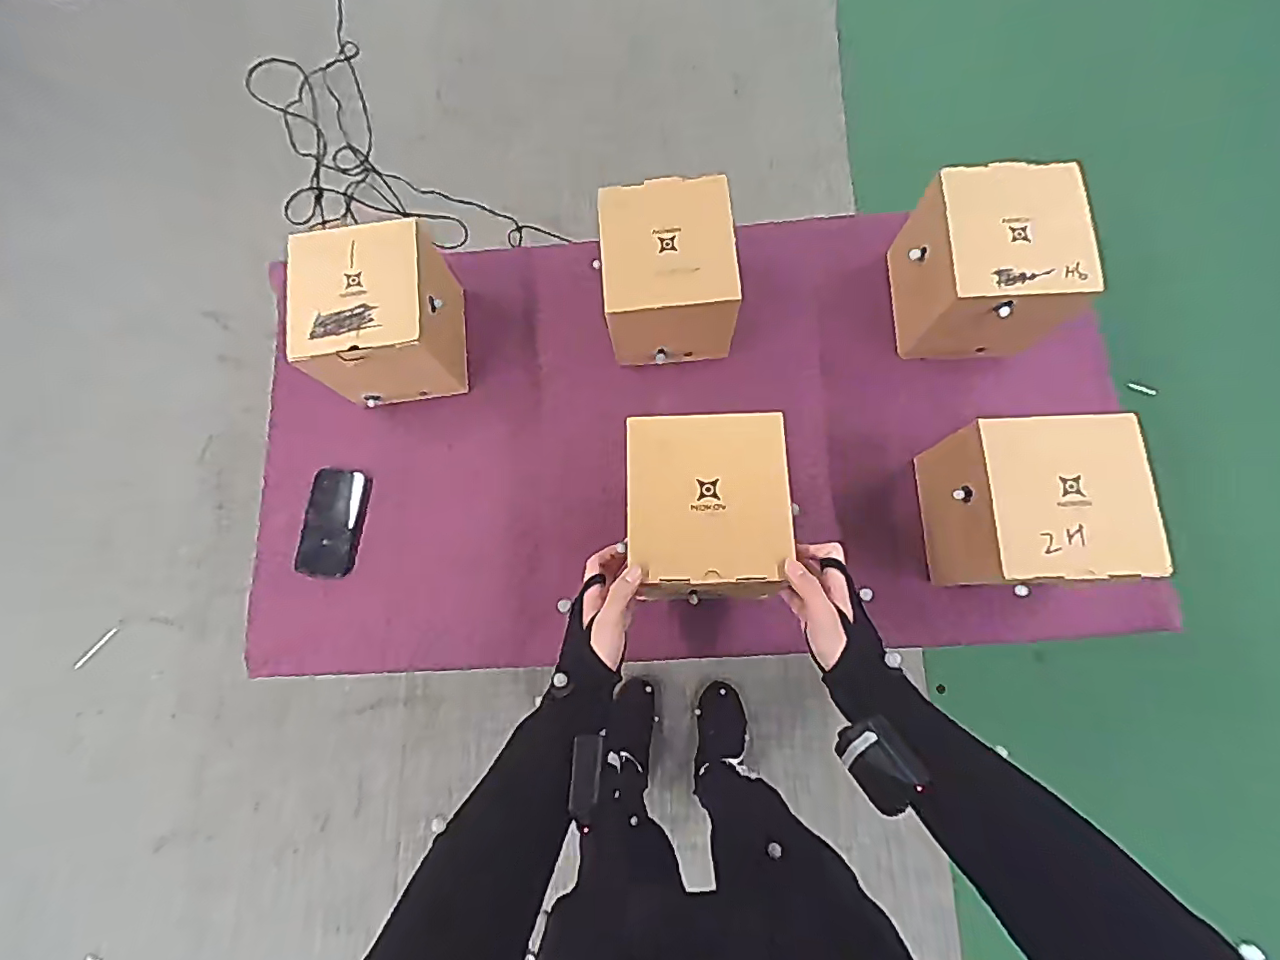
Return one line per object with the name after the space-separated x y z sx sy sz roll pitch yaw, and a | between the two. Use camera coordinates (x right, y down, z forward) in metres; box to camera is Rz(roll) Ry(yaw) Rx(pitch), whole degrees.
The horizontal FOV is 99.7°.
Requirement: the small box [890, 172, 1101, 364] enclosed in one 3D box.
0.450 -0.271 0.718 0.168 0.176 0.179 -1 77 4 | small box

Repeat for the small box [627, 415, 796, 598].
0.071 0.039 0.620 0.168 0.176 0.179 -1 73 2 | small box

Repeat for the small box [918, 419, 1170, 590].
0.453 0.038 0.642 0.168 0.176 0.179 -1 77 4 | small box

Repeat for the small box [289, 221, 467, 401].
-0.347 -0.218 0.745 0.168 0.176 0.179 -7 76 1 | small box

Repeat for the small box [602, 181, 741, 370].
0.039 -0.268 0.739 0.168 0.176 0.179 -4 78 3 | small box
